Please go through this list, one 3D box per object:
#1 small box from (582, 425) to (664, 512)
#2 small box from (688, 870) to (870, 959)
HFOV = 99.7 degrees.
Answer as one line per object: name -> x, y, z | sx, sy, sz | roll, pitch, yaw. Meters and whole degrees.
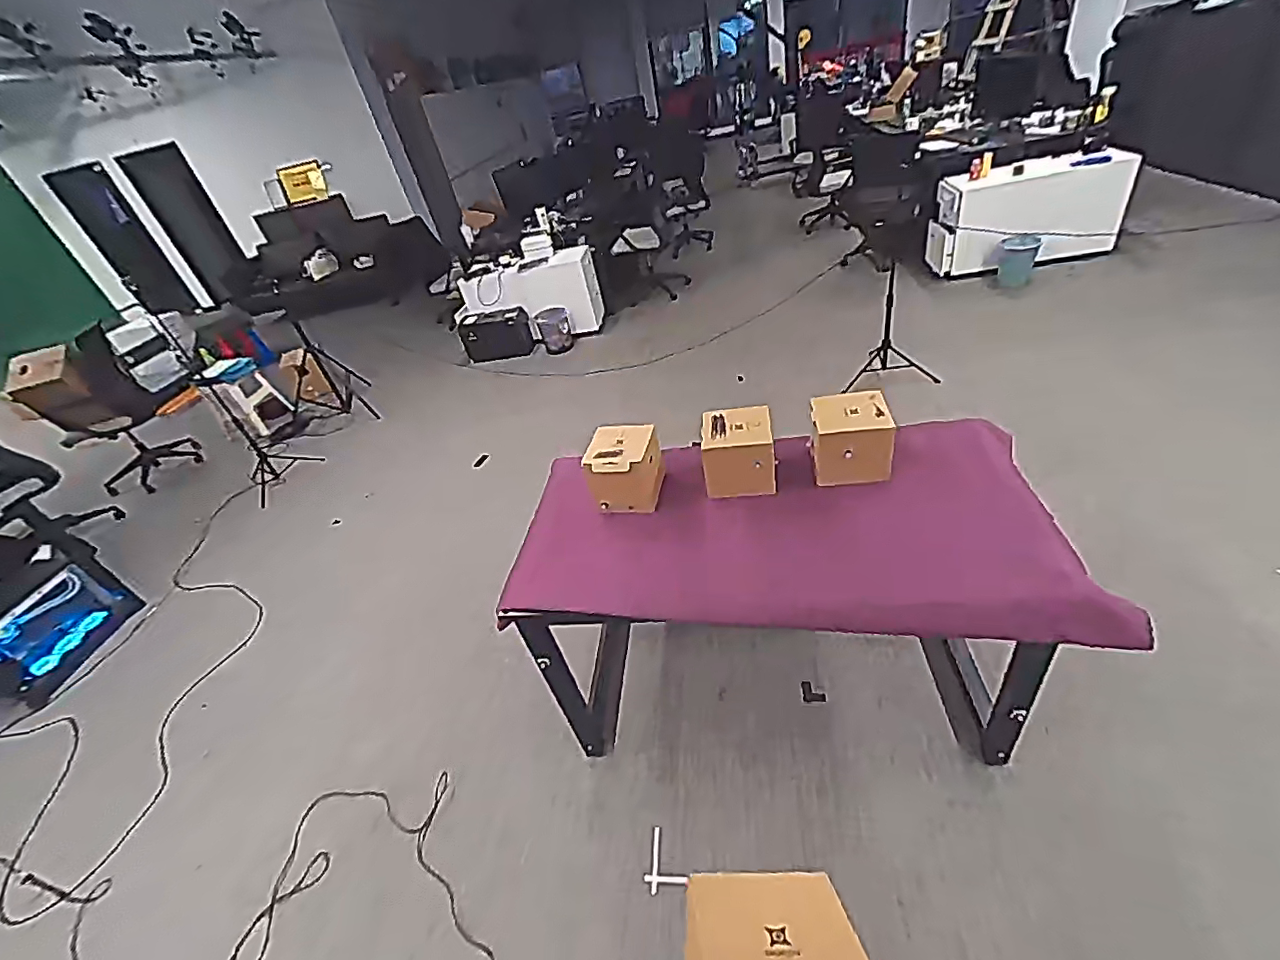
small box -> -0.038, -0.028, 1.456 | 0.168, 0.176, 0.179 | -1, 39, 16
small box -> 0.139, 0.543, 0.551 | 0.168, 0.176, 0.179 | 1, 4, -3
